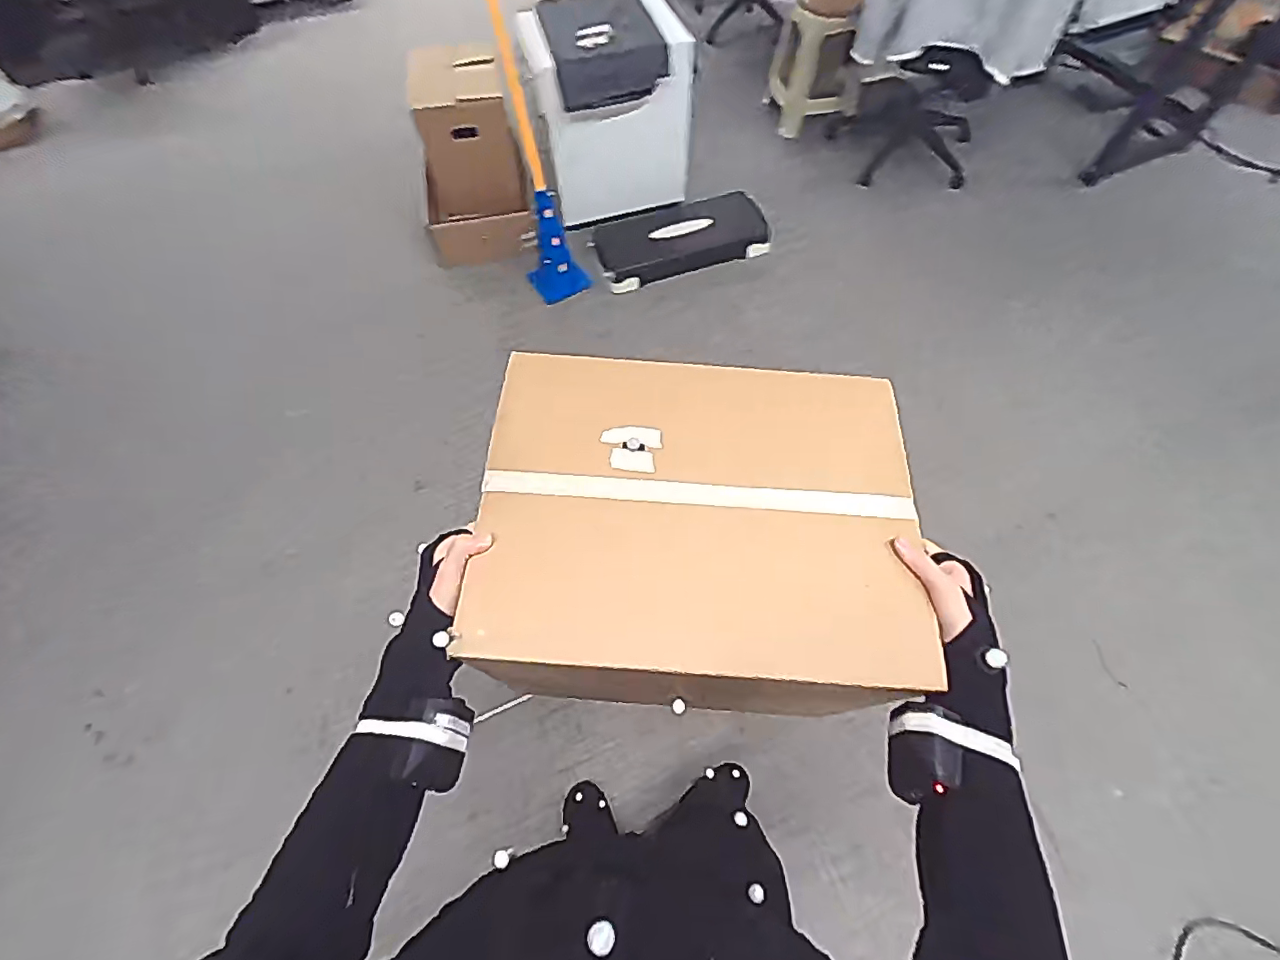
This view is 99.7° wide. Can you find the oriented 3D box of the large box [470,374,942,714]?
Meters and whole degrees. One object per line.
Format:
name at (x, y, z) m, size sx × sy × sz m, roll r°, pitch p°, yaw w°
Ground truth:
large box at (0.064, 0.097, 0.649) m, size 0.408 × 0.320 × 0.320 m, roll 4°, pitch 62°, yaw 2°
